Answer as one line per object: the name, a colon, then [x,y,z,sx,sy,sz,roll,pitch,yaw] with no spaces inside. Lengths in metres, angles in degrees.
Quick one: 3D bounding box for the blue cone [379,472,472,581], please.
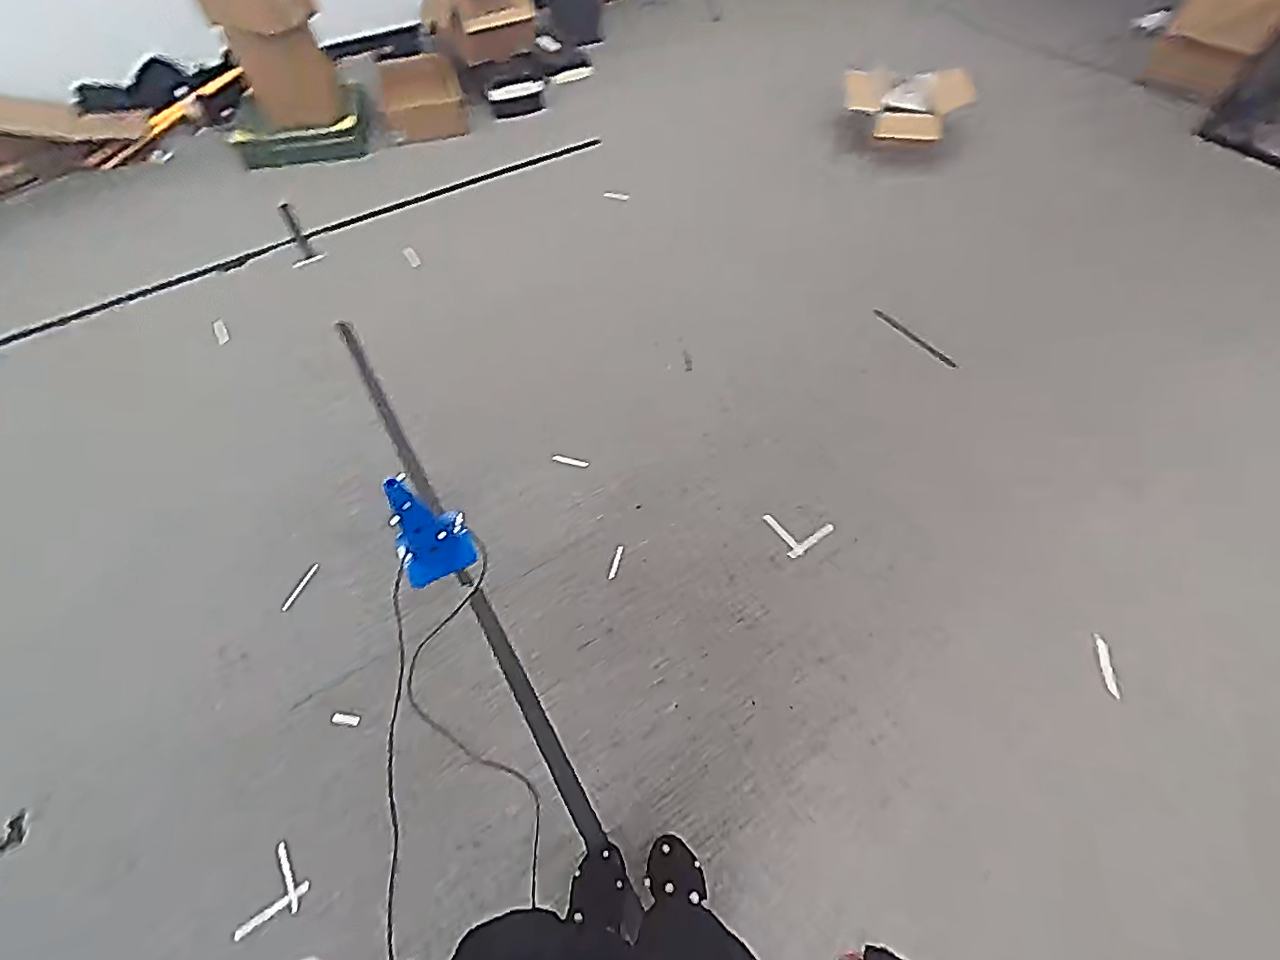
blue cone: [-0.603,0.103,1.446,0.193,0.380,0.192,-26,61,-15]
